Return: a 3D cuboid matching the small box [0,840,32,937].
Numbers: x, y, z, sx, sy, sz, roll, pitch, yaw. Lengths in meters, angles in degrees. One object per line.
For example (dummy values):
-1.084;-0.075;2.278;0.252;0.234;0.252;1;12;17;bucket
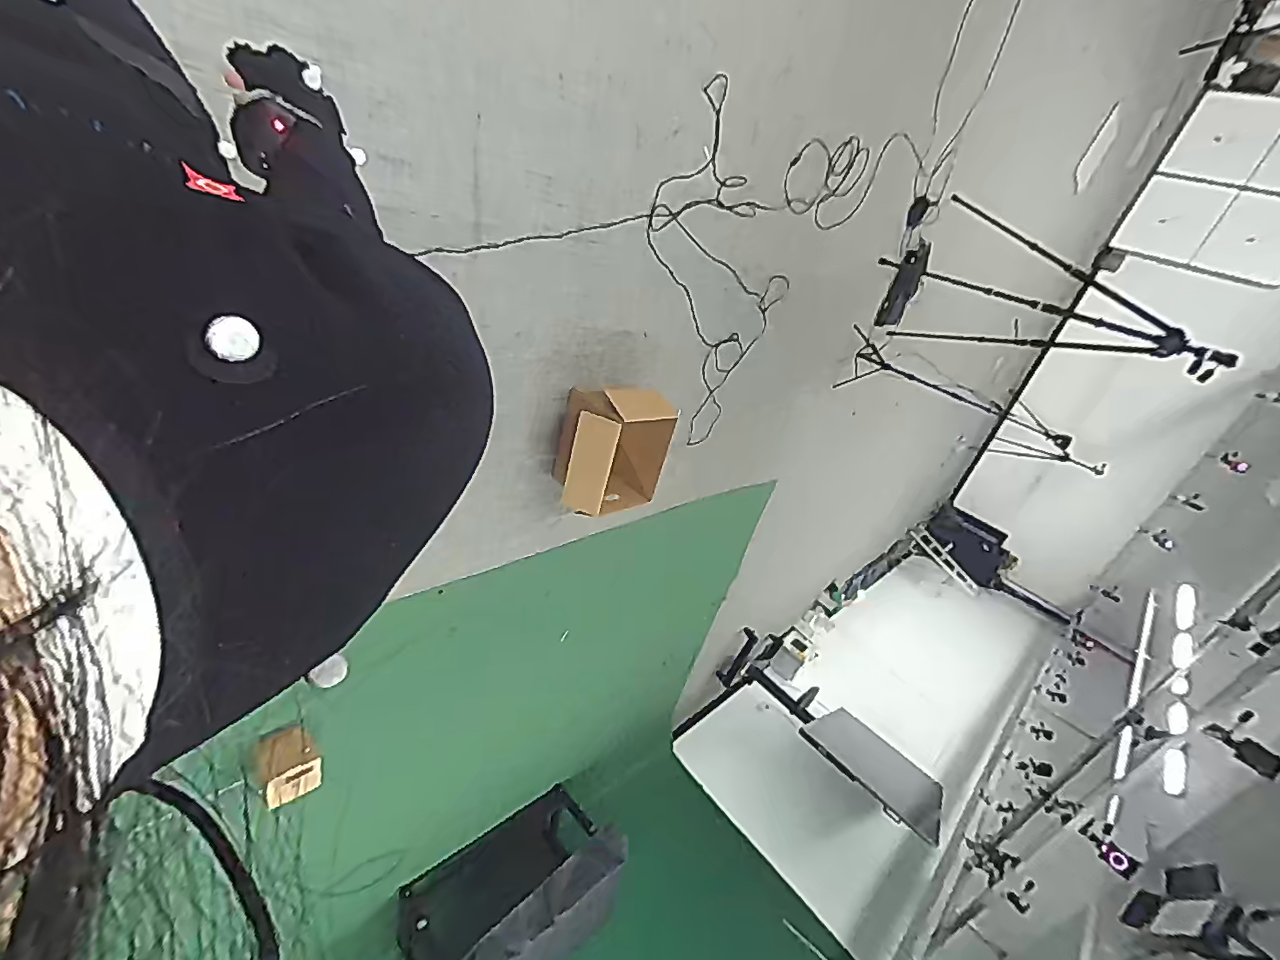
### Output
-1.779;1.125;1.447;0.179;0.176;0.168;-14;131;-45;small box
